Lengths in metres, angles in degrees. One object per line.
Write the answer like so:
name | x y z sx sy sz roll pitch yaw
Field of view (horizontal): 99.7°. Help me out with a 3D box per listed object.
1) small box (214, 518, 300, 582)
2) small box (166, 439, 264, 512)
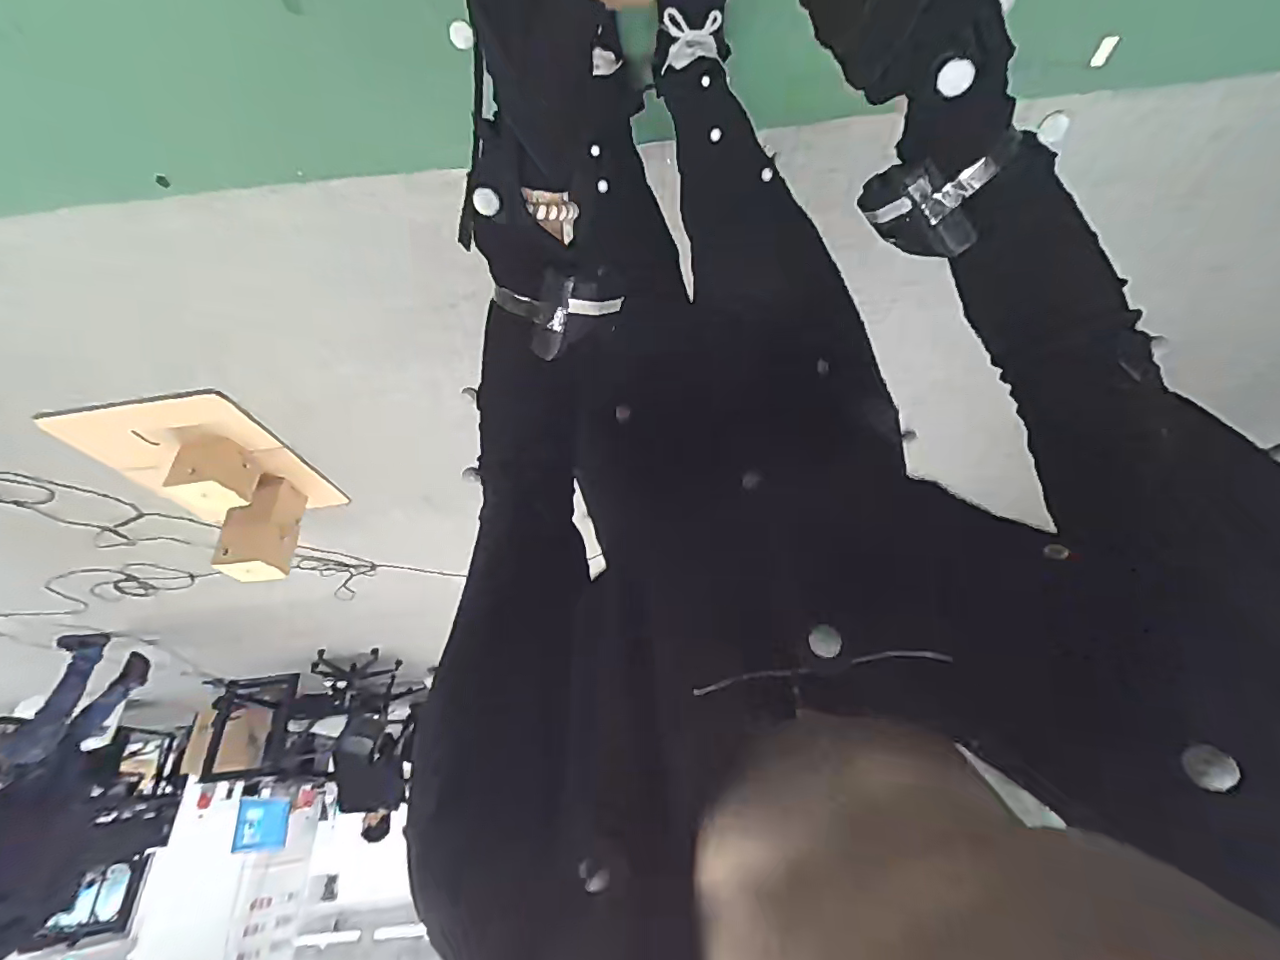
small box | -1.358 0.251 1.932 0.179 0.176 0.168 -6 150 1
small box | -1.410 -0.015 1.808 0.179 0.176 0.168 -9 148 4
